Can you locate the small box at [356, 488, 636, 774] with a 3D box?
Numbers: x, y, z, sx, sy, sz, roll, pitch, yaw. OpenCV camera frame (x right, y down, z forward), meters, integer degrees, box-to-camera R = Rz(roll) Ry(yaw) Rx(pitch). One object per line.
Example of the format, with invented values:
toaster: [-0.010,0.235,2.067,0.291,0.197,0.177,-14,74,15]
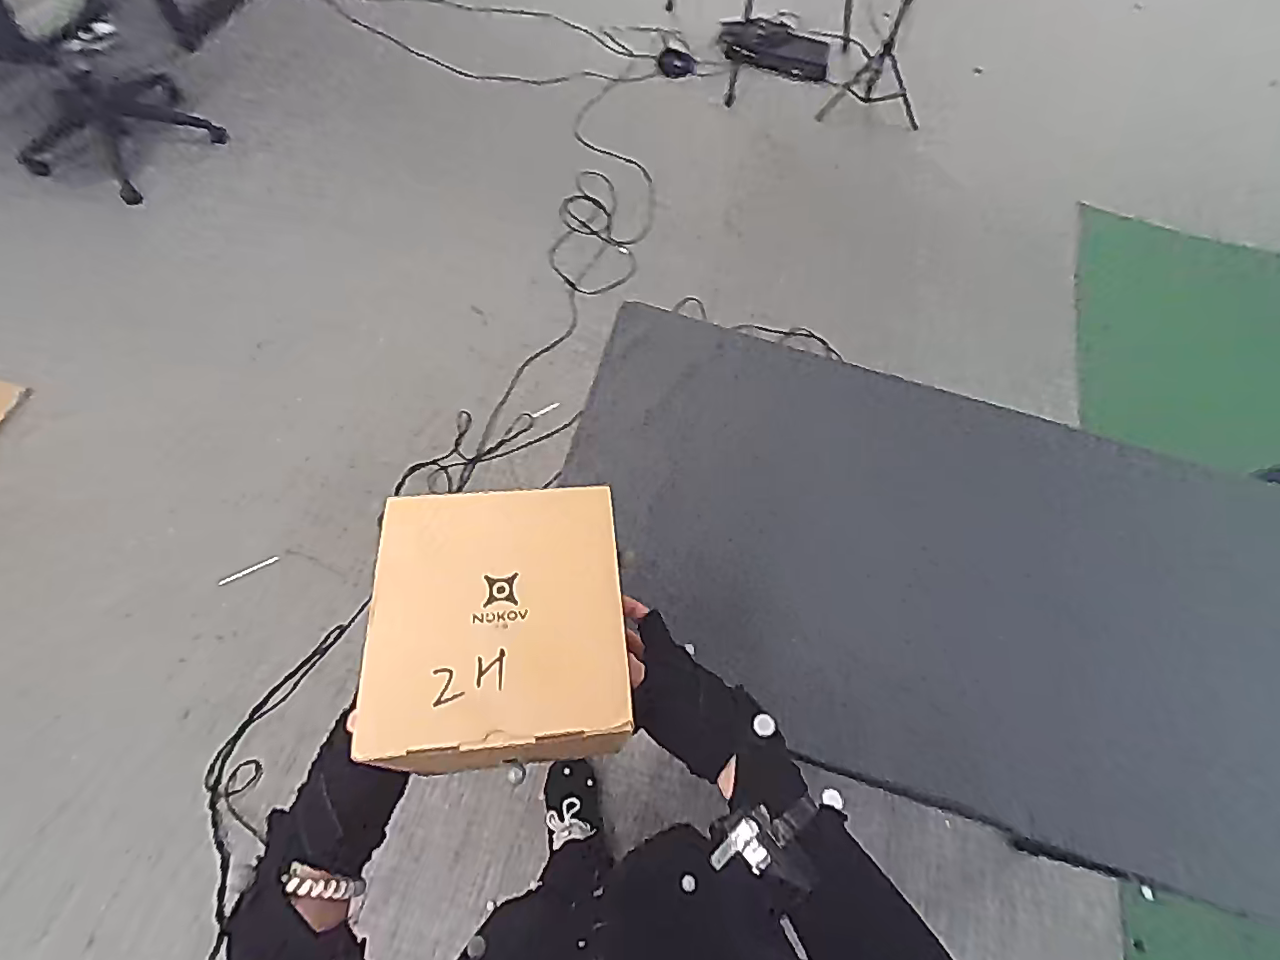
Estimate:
small box: [-0.098,0.123,0.430,0.168,0.176,0.179,-2,59,-7]
